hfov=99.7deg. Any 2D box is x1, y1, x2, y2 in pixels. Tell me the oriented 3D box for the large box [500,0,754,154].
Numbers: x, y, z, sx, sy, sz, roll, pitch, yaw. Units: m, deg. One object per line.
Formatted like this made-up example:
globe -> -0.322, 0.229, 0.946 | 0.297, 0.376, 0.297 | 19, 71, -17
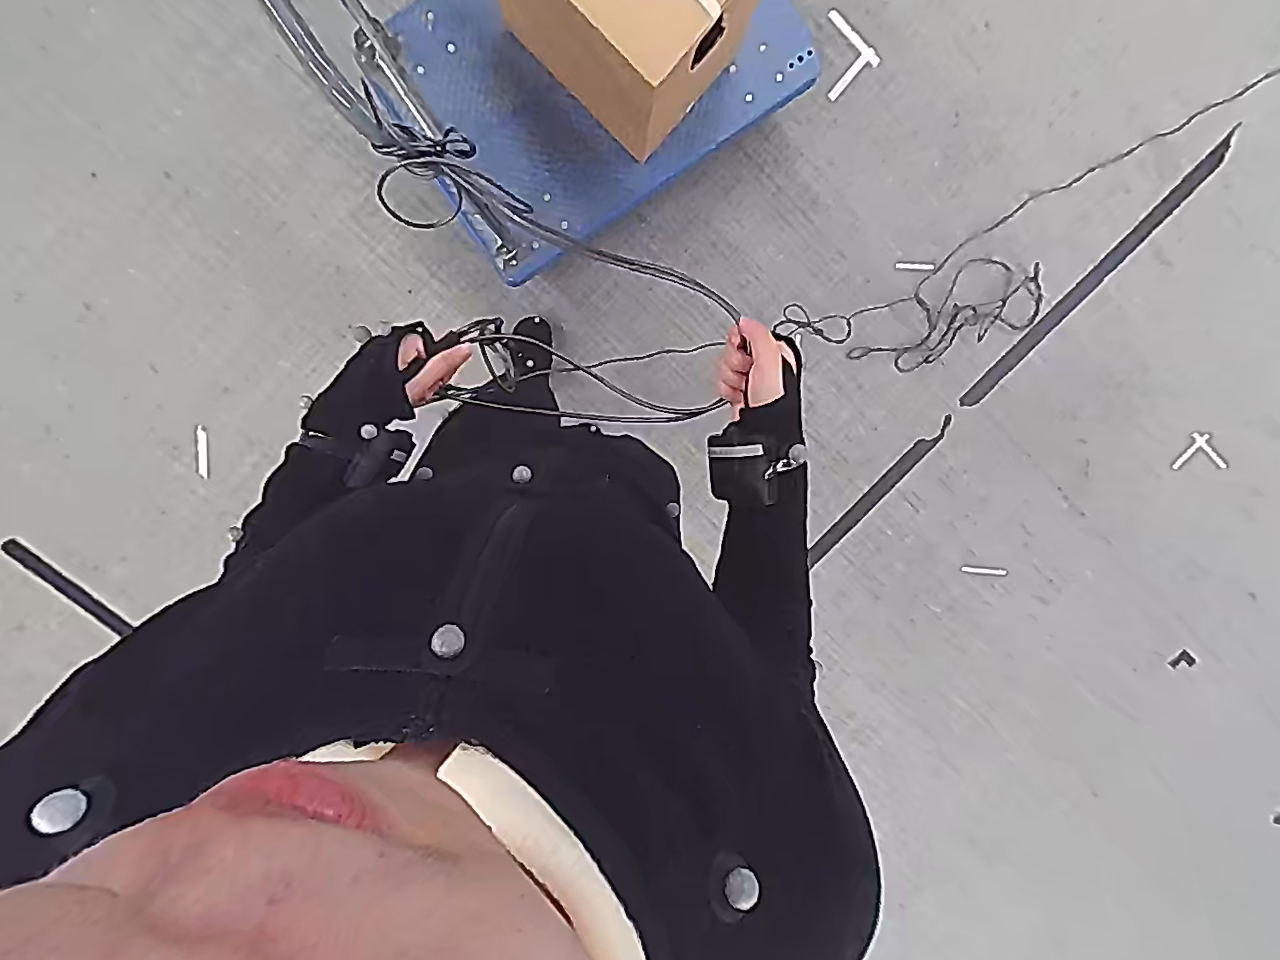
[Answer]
large box -> -0.029, -0.932, 1.012 | 0.408, 0.320, 0.320 | 41, 95, -10
